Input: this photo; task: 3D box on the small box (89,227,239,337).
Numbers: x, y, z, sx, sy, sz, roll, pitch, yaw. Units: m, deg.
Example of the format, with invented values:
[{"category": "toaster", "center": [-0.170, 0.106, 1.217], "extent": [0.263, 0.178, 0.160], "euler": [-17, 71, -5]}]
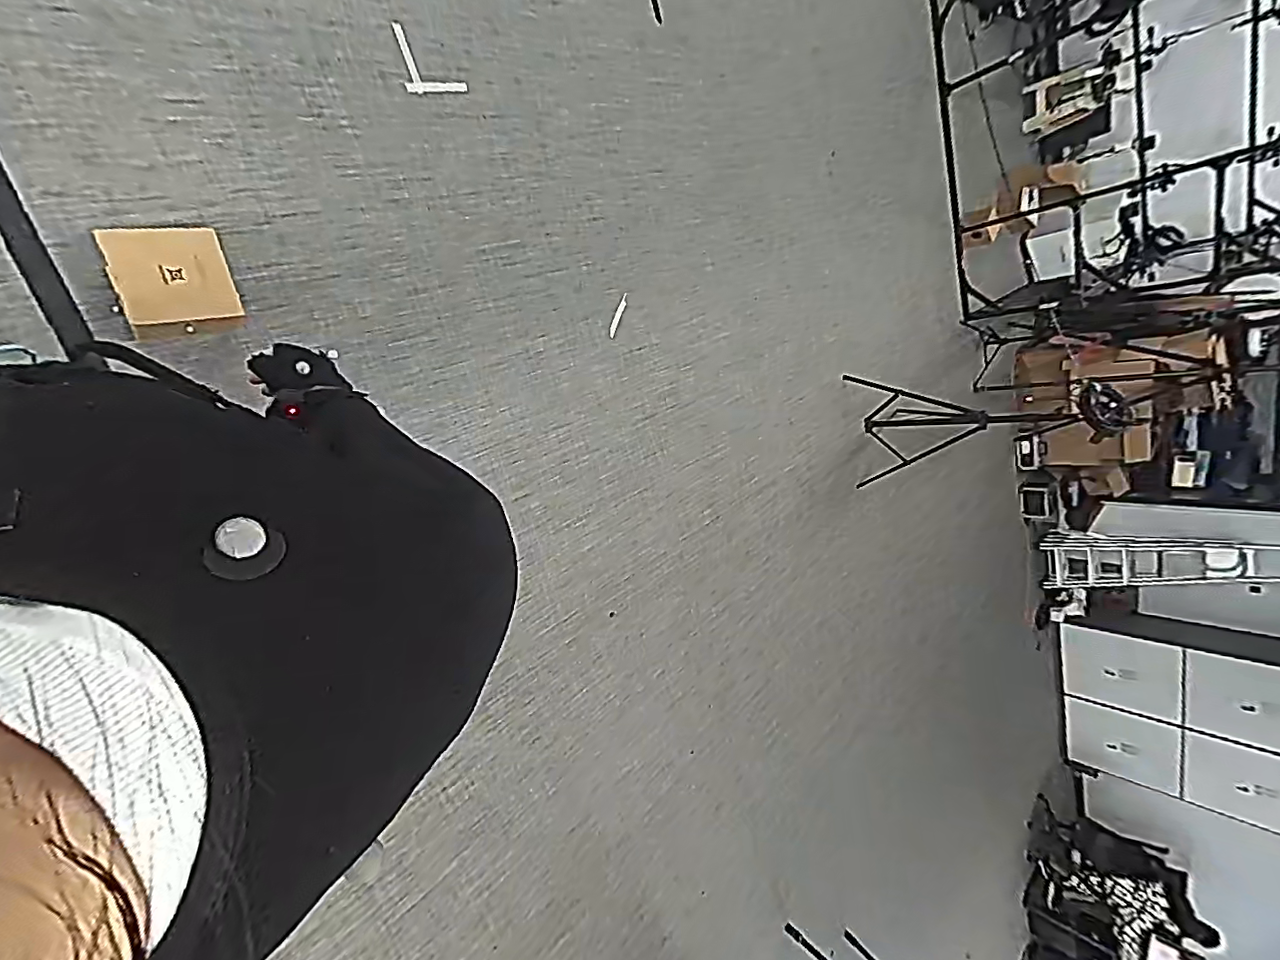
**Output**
[{"category": "small box", "center": [-0.920, -0.382, 1.057], "extent": [0.179, 0.176, 0.168], "euler": [-22, 106, -38]}]
